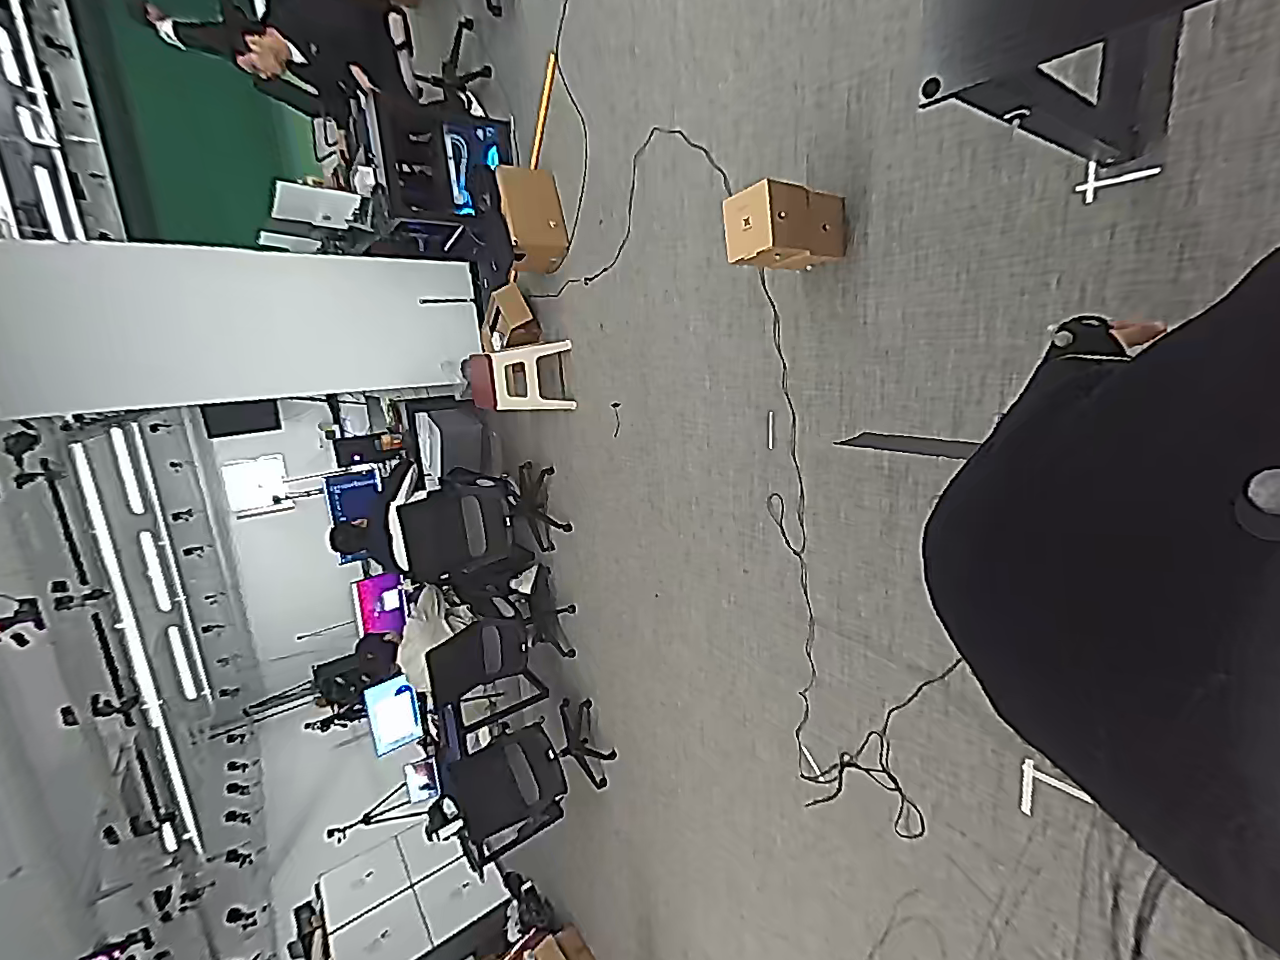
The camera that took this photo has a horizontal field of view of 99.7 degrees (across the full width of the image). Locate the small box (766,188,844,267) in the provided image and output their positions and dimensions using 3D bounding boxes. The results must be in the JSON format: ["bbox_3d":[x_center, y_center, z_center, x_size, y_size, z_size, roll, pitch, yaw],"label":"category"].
[{"bbox_3d":[0.491,-0.746,1.616,0.168,0.176,0.179,9,108,53],"label":"small box"}]

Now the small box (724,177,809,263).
[{"bbox_3d":[0.359,-0.722,1.524,0.168,0.176,0.179,4,102,53],"label":"small box"}]
